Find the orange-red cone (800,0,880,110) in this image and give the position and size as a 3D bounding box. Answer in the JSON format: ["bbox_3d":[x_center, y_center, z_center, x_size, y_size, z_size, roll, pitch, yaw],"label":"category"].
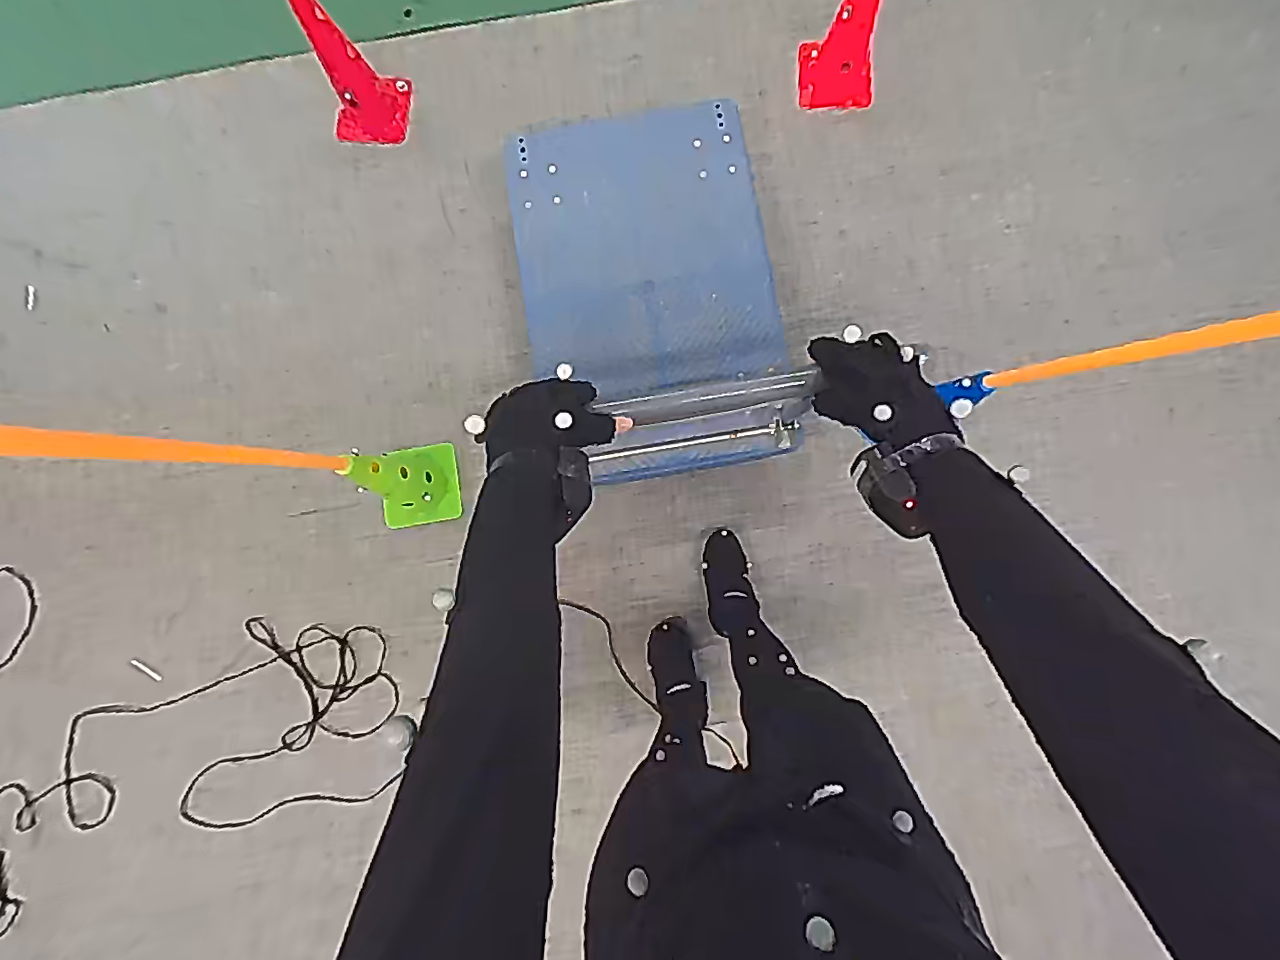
[{"bbox_3d":[0.535,-1.130,1.323,0.198,0.360,0.199,2,84,3],"label":"orange-red cone"}]
